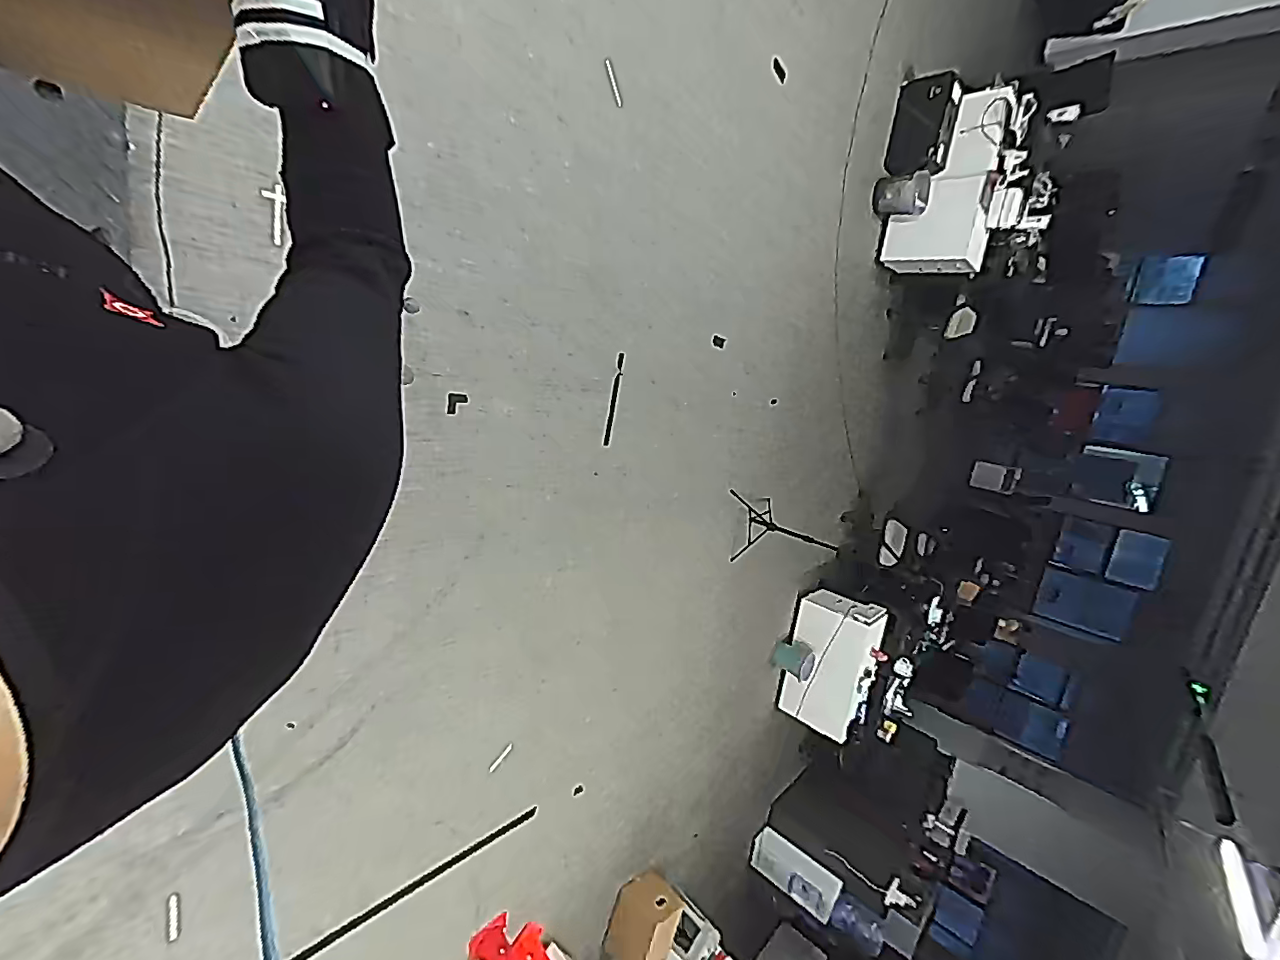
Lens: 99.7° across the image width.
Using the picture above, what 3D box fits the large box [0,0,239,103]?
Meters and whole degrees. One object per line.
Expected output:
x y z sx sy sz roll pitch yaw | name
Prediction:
-0.476 -0.468 0.265 0.408 0.320 0.320 -11 106 -47 | large box
